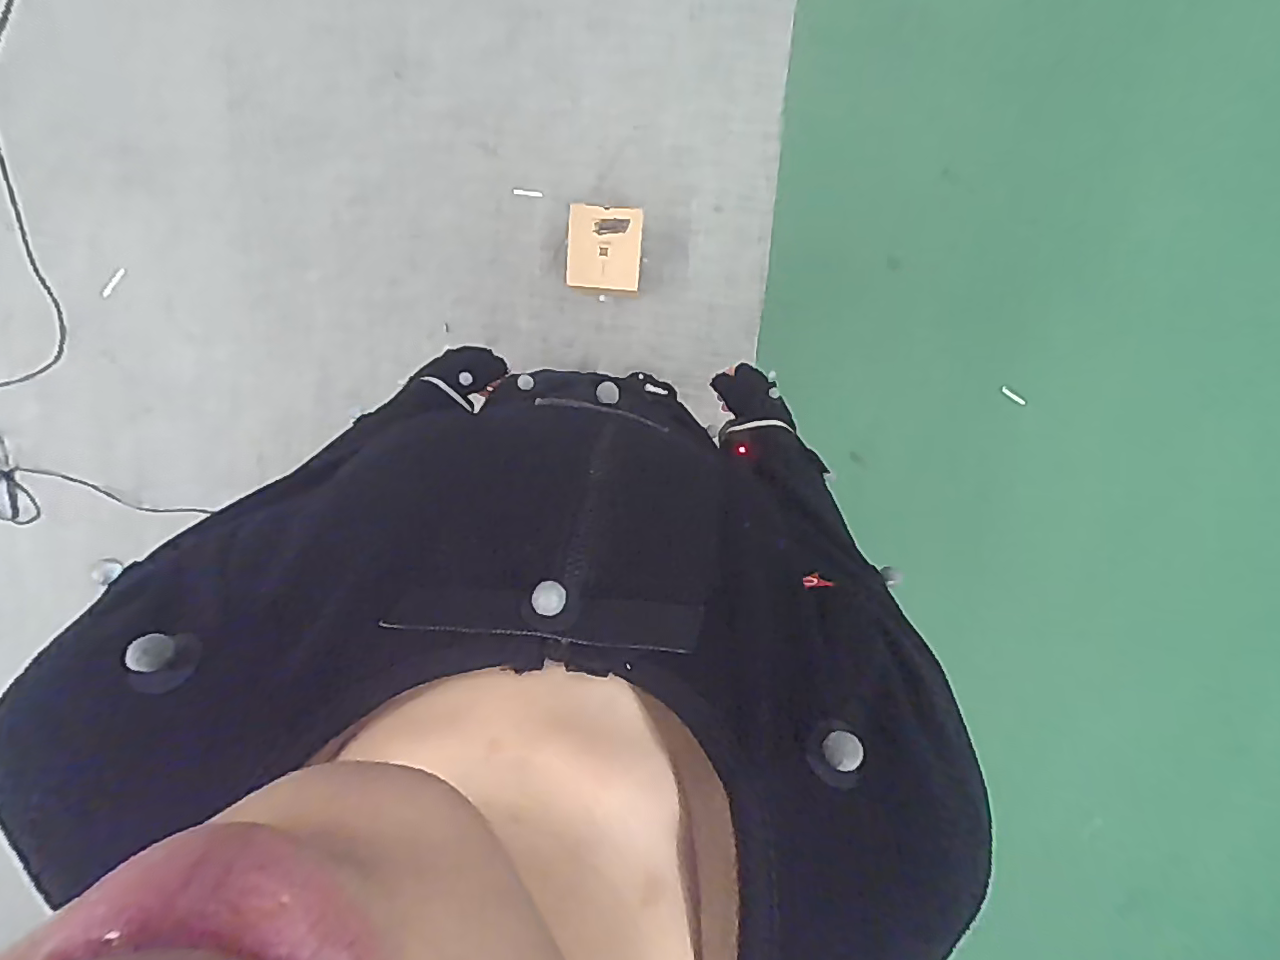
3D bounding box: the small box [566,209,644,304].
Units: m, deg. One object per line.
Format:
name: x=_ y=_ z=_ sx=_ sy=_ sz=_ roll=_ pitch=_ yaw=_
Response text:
small box: x=-0.081 y=-0.524 z=1.289 sx=0.168 sy=0.176 sz=0.179 roll=4 pitch=103 yaw=-1
